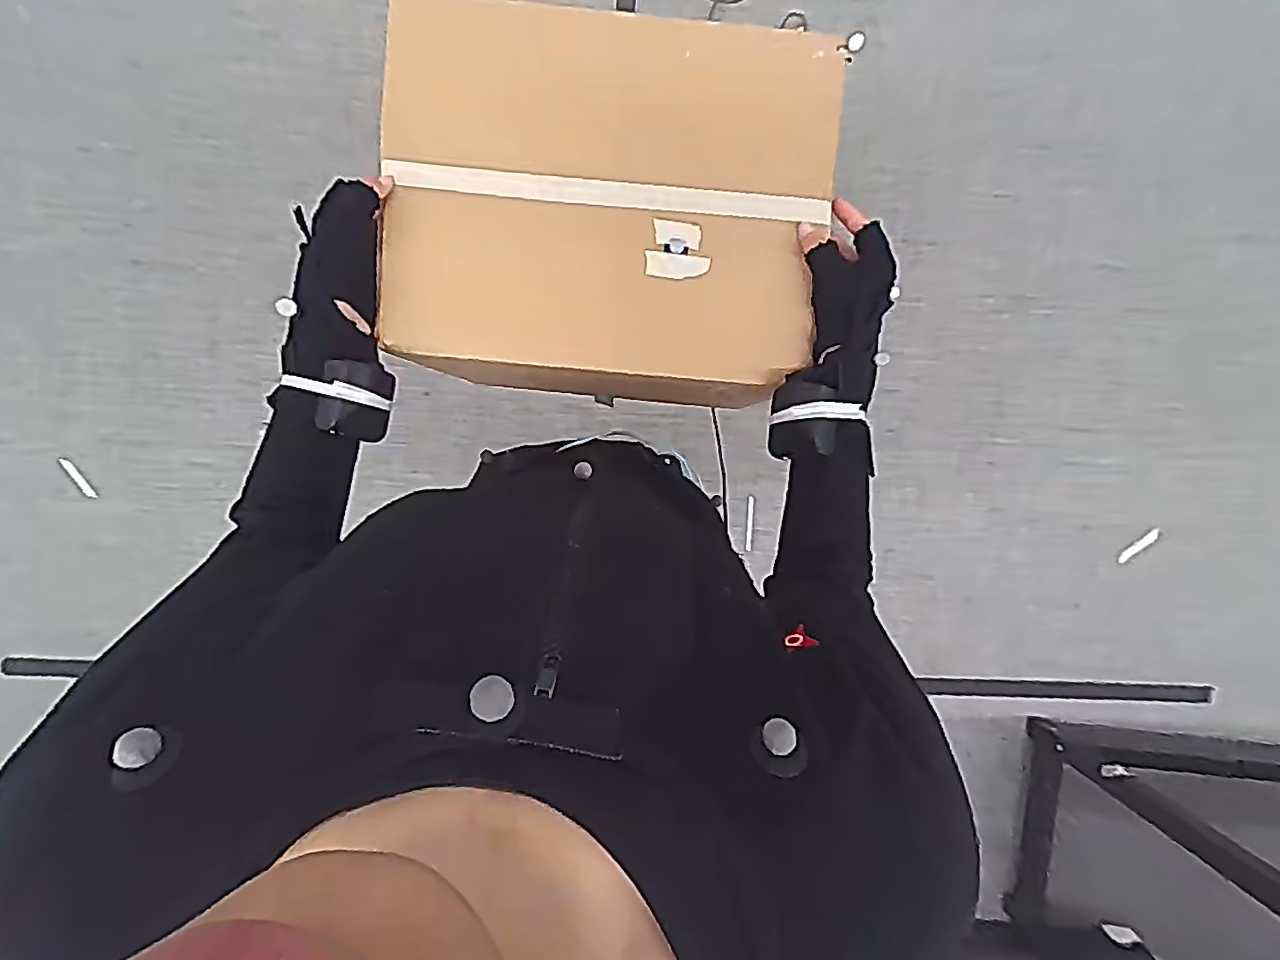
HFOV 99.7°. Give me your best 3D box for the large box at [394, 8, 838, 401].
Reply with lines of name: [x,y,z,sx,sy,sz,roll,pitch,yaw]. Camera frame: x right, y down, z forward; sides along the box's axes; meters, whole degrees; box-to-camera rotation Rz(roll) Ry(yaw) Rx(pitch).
large box: [-0.030,-0.273,0.652,0.408,0.320,0.320,5,95,-2]
